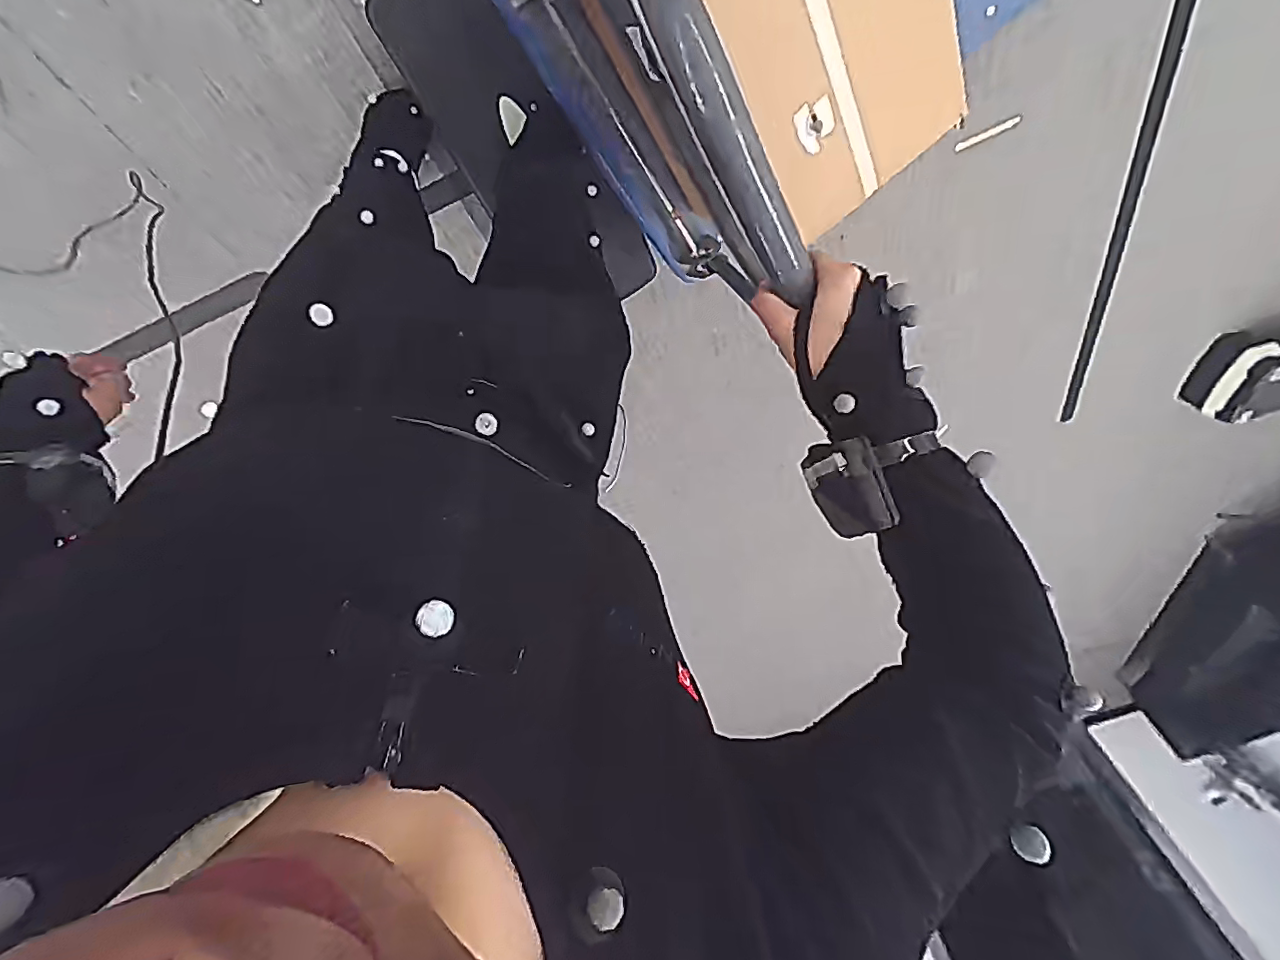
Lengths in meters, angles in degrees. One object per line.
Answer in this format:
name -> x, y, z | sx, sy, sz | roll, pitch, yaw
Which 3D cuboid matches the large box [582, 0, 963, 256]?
large box -> 0.164, -0.602, 0.728 | 0.320, 0.320, 0.408 | -37, 134, 10
